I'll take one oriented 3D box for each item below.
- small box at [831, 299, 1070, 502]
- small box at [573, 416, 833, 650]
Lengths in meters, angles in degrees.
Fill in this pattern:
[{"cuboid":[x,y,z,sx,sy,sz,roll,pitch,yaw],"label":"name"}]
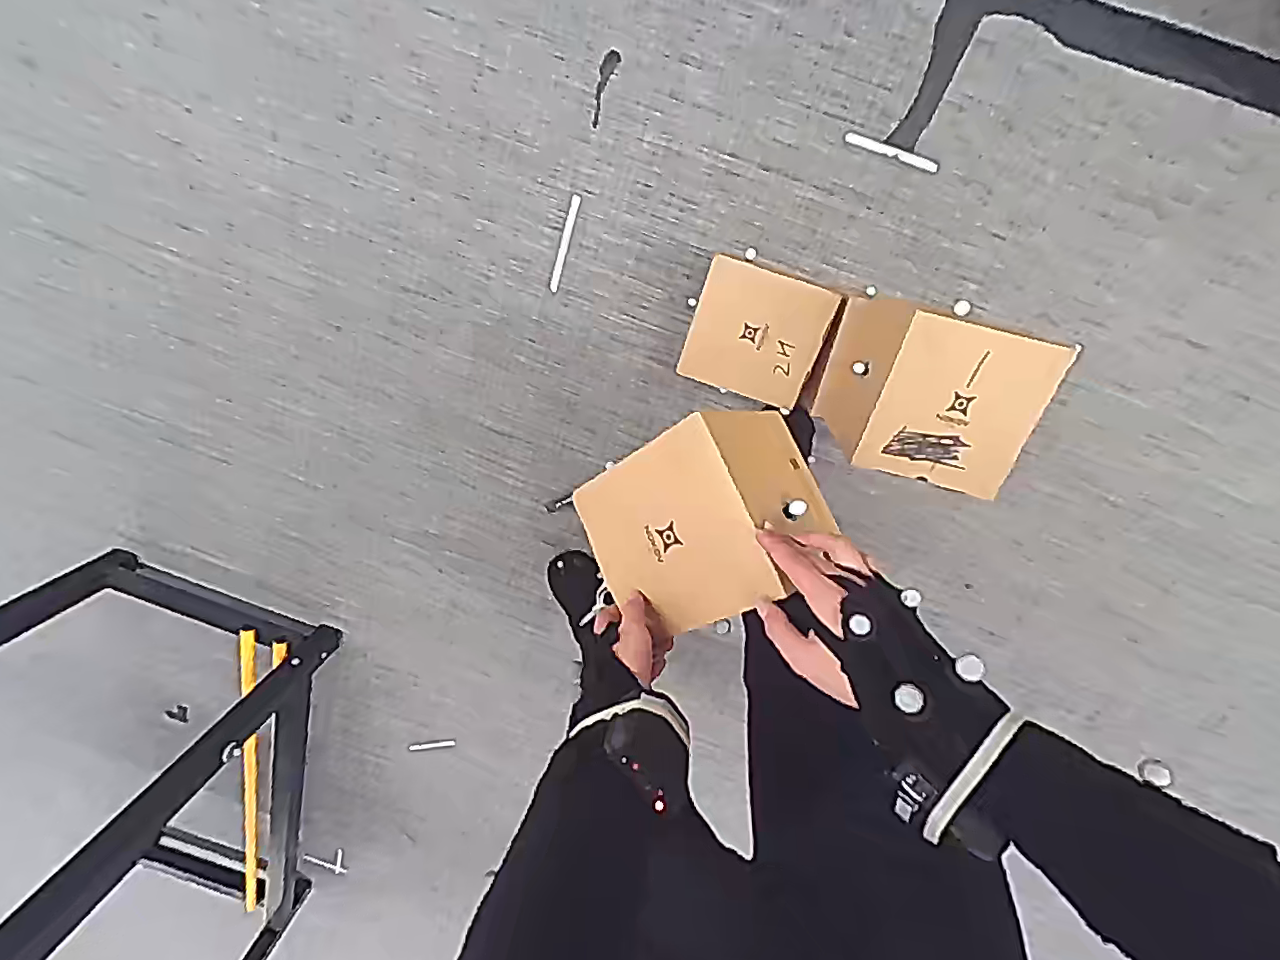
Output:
[{"cuboid":[0.342,-0.104,0.645,0.168,0.176,0.179,15,114,2],"label":"small box"},{"cuboid":[0.071,0.045,0.541,0.179,0.176,0.168,-32,76,36],"label":"small box"}]
